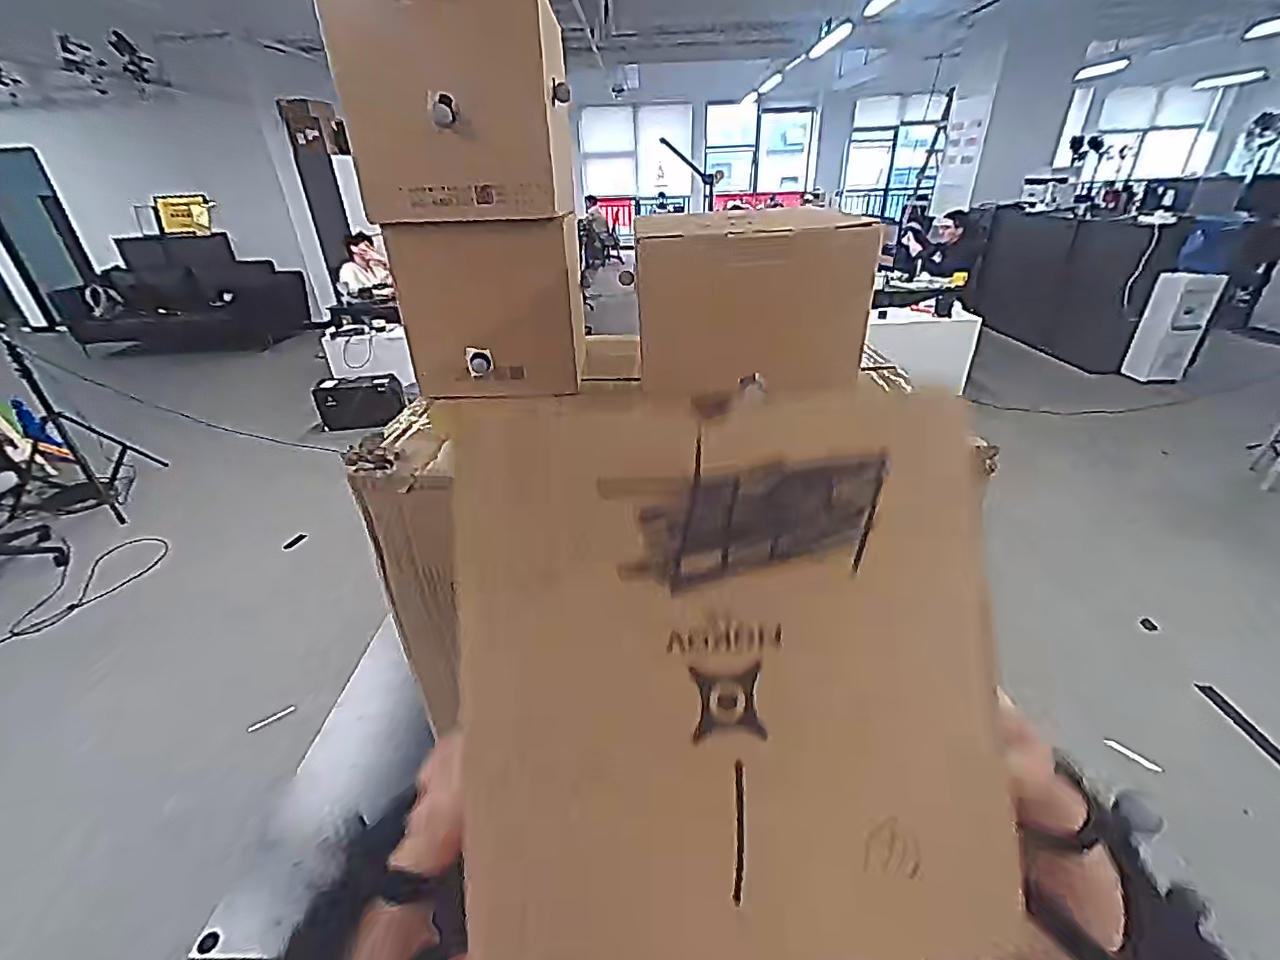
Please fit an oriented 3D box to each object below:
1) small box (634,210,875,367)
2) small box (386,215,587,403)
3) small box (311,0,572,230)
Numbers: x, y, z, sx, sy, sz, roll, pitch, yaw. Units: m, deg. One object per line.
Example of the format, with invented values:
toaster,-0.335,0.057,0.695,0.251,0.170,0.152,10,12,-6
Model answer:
small box,0.080,-0.135,0.475,0.168,0.176,0.179,-3,30,1
small box,-0.150,-0.193,0.596,0.168,0.176,0.179,-4,30,-2
small box,-0.158,-0.329,0.503,0.168,0.176,0.179,-2,29,0
